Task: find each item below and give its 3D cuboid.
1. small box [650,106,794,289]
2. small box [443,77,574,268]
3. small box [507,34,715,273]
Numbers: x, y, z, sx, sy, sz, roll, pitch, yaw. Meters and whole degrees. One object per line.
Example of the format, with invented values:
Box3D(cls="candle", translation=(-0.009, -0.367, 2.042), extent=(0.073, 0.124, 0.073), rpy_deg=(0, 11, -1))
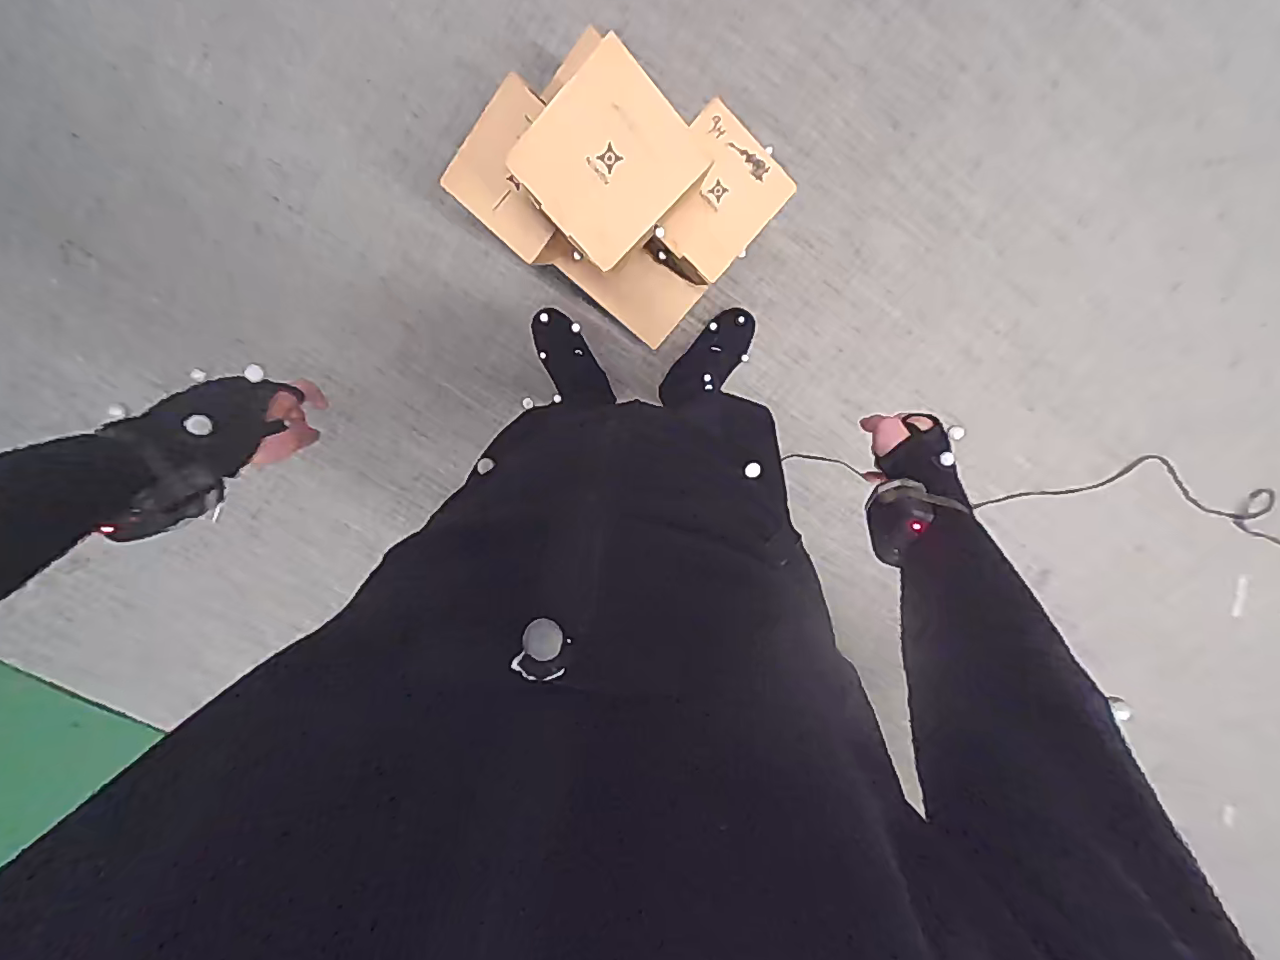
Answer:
Box3D(cls="small box", translation=(0.102, -0.414, 0.833), extent=(0.168, 0.176, 0.179), rpy_deg=(41, 104, -12))
Box3D(cls="small box", translation=(-0.159, -0.448, 0.821), extent=(0.168, 0.176, 0.179), rpy_deg=(42, 107, -13))
Box3D(cls="small box", translation=(-0.032, -0.378, 0.672), extent=(0.179, 0.176, 0.168), rpy_deg=(-42, 105, 12))
